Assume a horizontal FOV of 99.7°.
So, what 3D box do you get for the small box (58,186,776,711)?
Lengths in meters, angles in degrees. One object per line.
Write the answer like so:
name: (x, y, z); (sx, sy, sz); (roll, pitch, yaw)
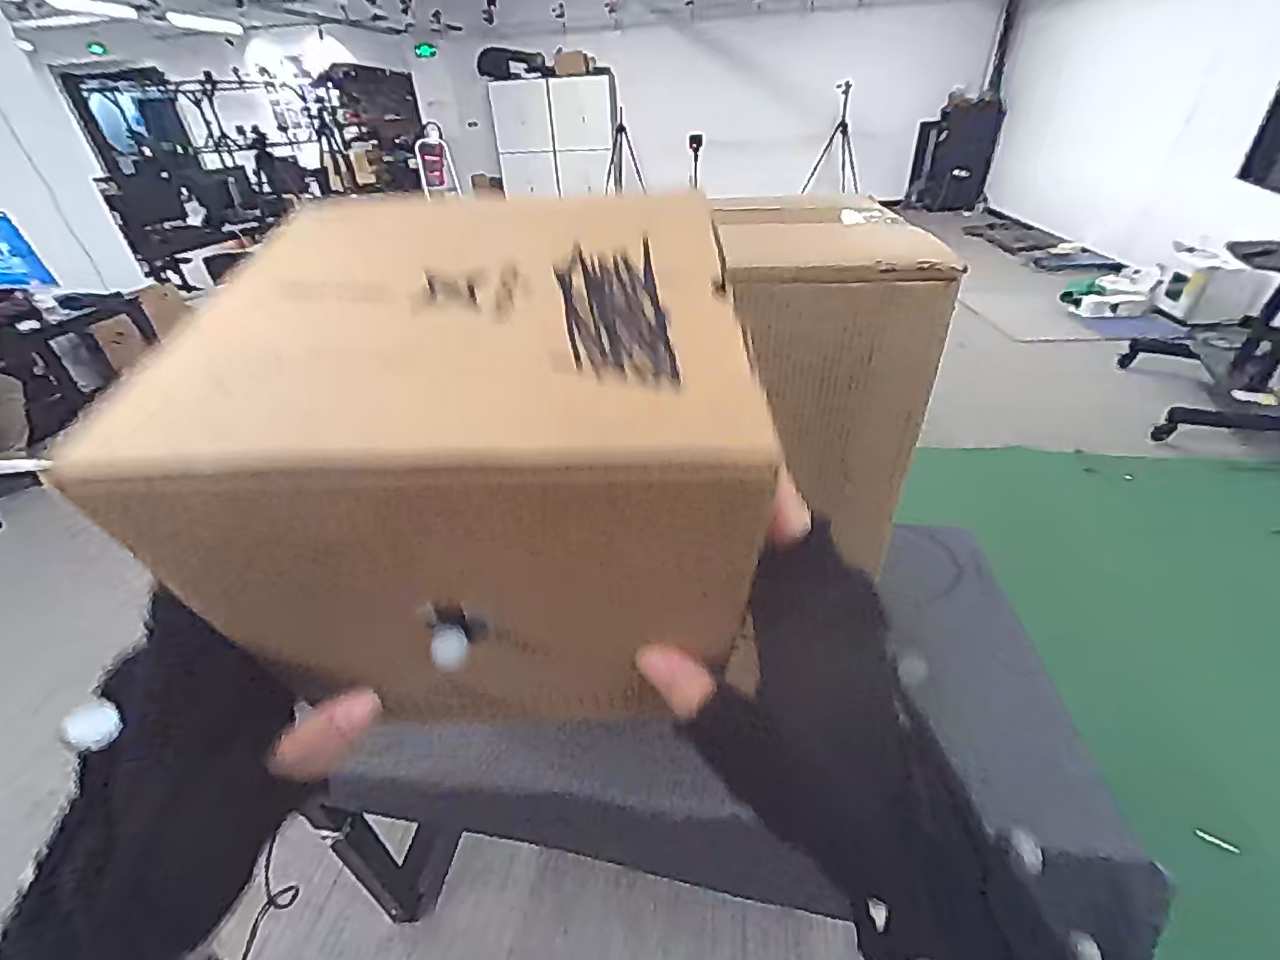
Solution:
small box: (-0.059, -0.009, 0.244); (0.179, 0.176, 0.168); (-2, 48, -5)
